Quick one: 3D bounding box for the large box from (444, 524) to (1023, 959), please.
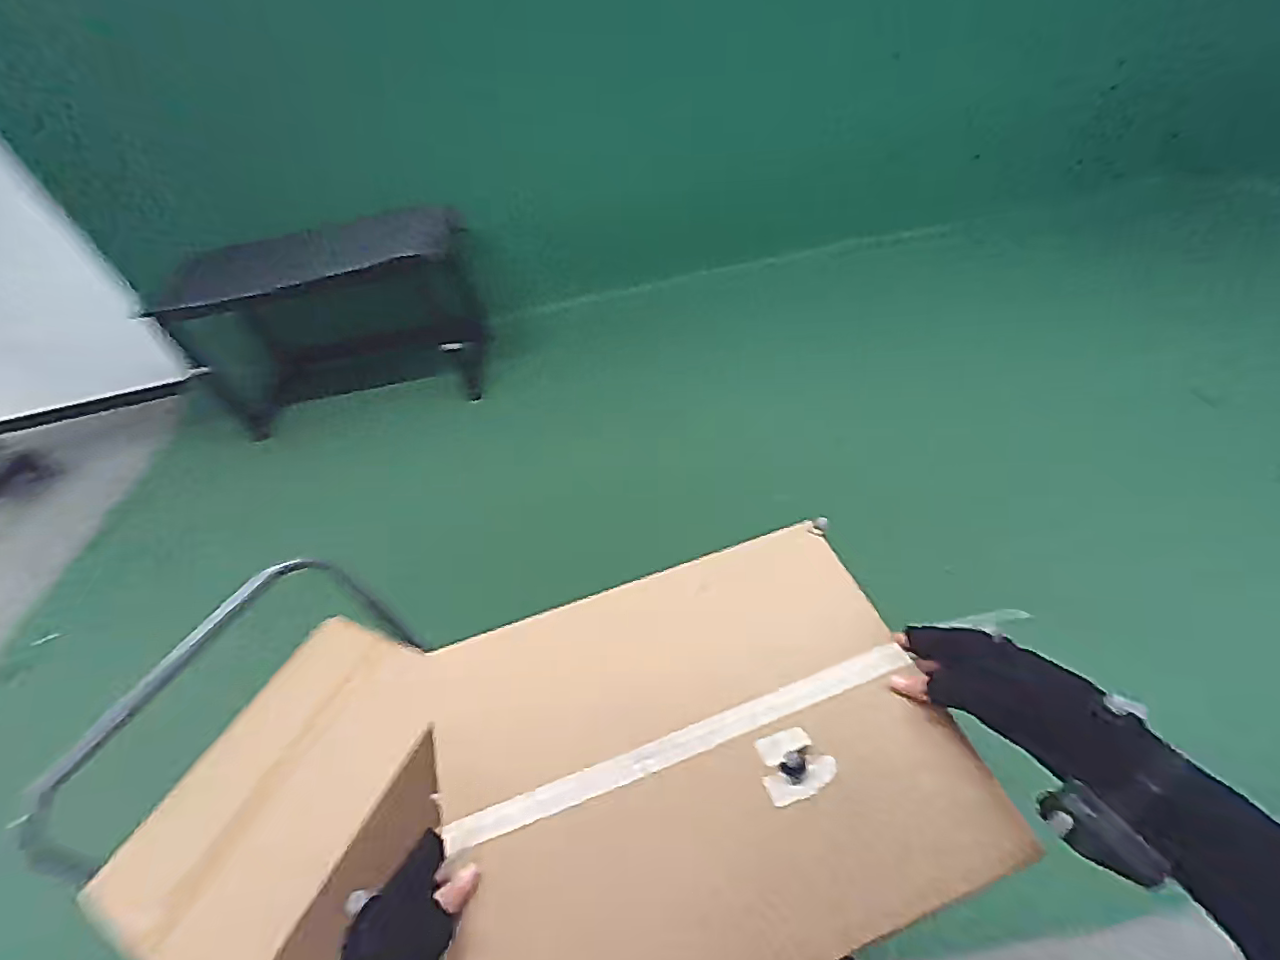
[{"bbox_3d":[0.055,0.307,0.566,0.408,0.320,0.320,-16,52,-10],"label":"large box"}]
